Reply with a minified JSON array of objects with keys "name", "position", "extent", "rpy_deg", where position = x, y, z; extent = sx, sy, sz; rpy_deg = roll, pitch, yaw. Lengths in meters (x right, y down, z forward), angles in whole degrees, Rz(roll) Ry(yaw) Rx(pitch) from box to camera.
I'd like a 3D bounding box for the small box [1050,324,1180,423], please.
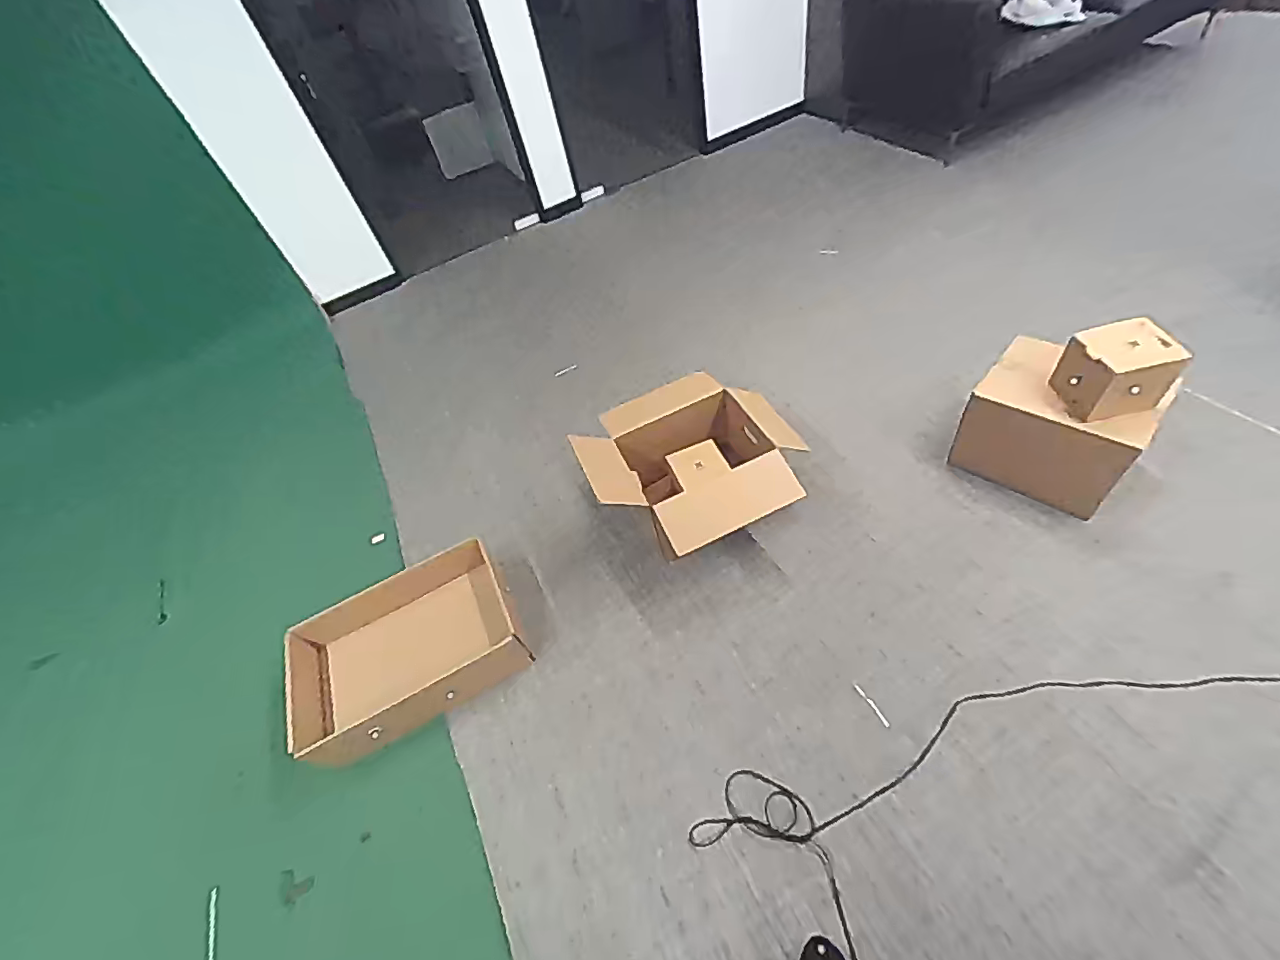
[{"name":"small box","position":[1.199,-0.268,1.390],"extent":[0.179,0.176,0.168],"rpy_deg":[-13,50,5]}]
